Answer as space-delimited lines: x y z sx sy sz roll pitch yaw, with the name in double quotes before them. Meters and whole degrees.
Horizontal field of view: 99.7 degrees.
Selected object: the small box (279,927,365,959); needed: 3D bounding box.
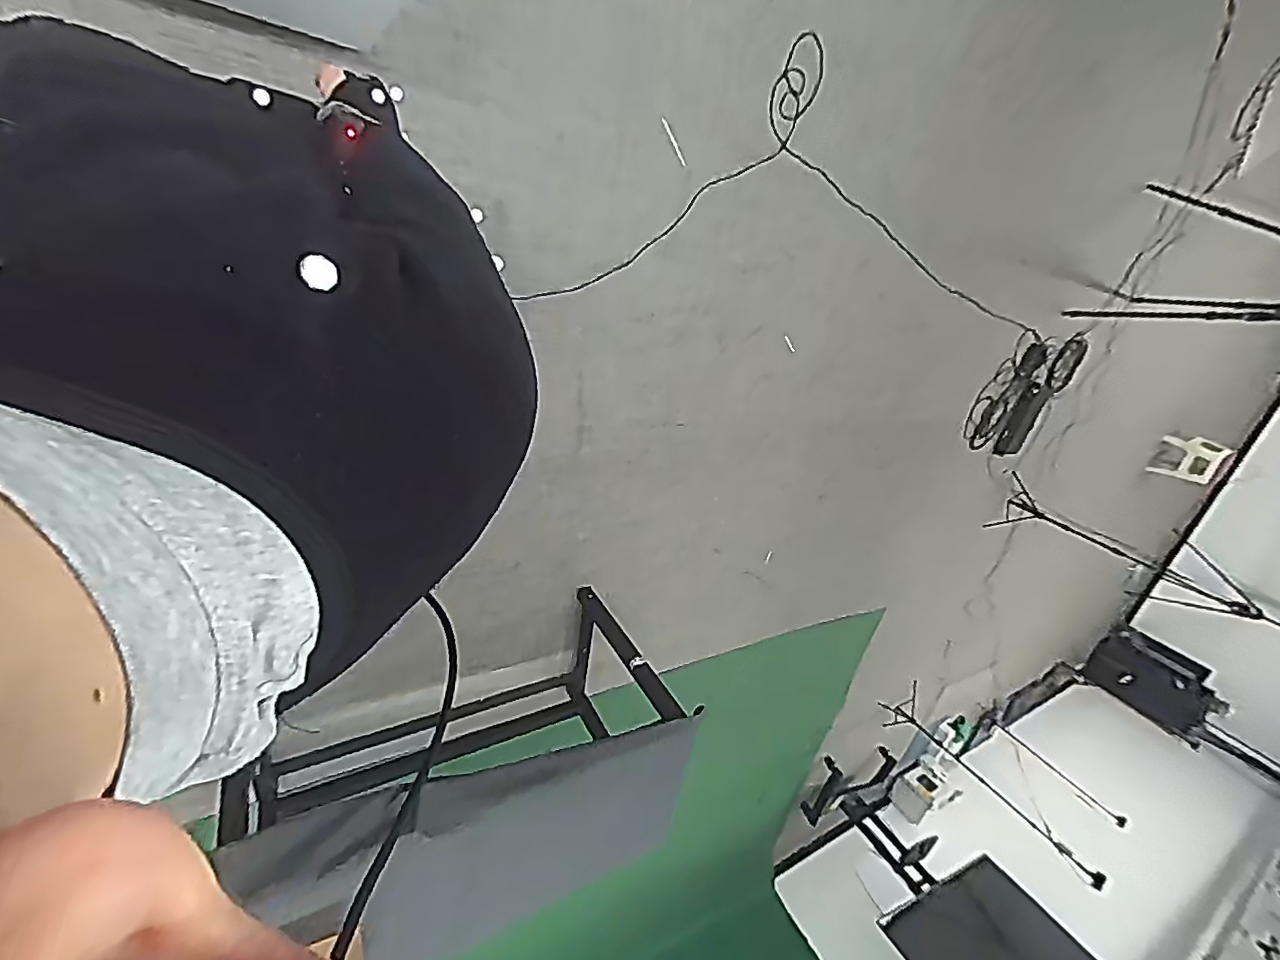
"small box" -0.706 1.144 1.189 0.179 0.176 0.168 0 116 -35
